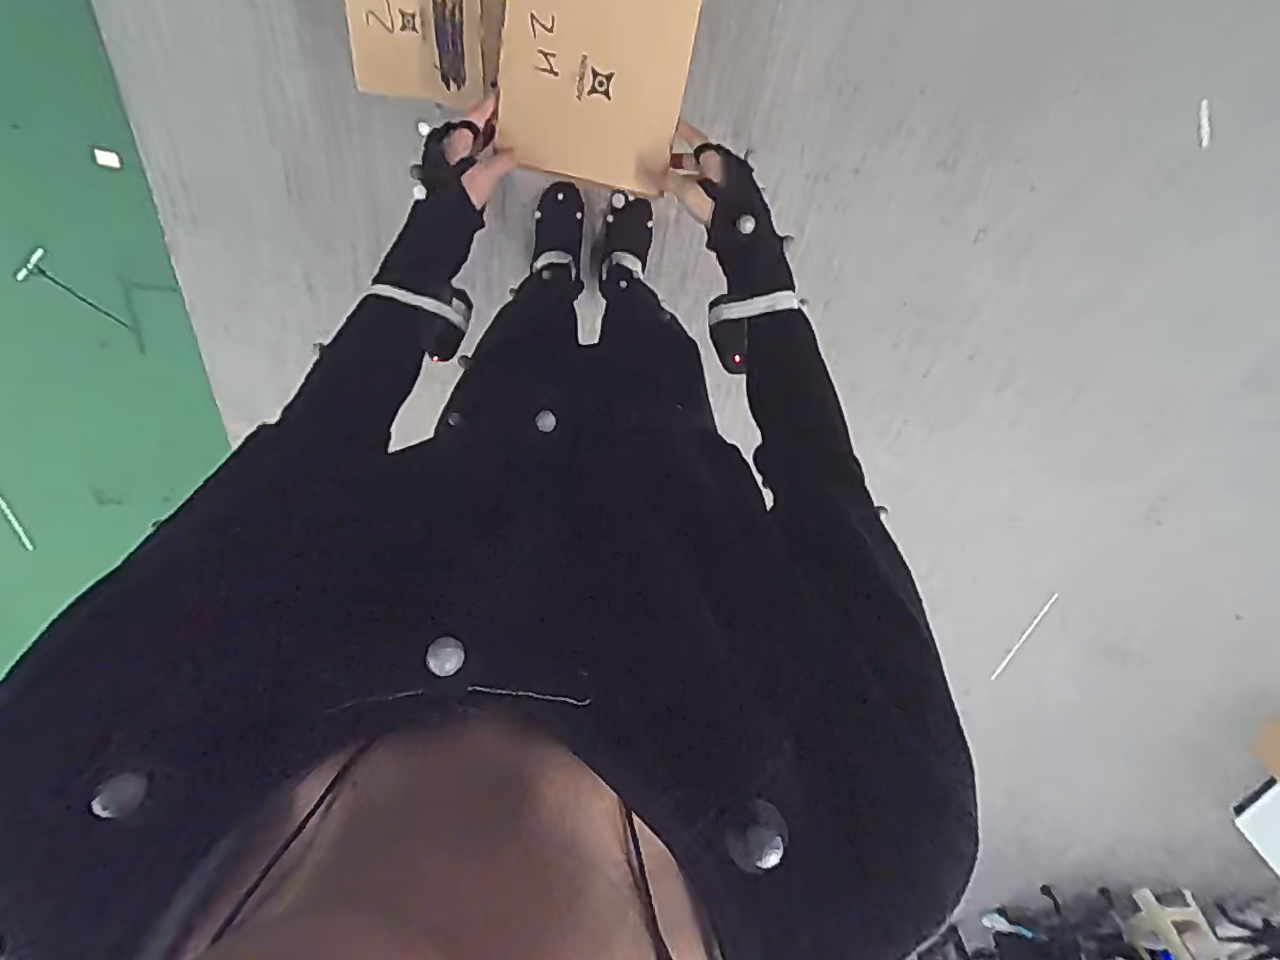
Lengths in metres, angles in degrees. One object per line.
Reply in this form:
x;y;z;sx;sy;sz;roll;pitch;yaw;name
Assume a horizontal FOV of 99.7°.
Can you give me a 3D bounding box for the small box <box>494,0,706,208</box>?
-0.044;-0.402;0.577;0.179;0.176;0.168;10;116;-7;small box
